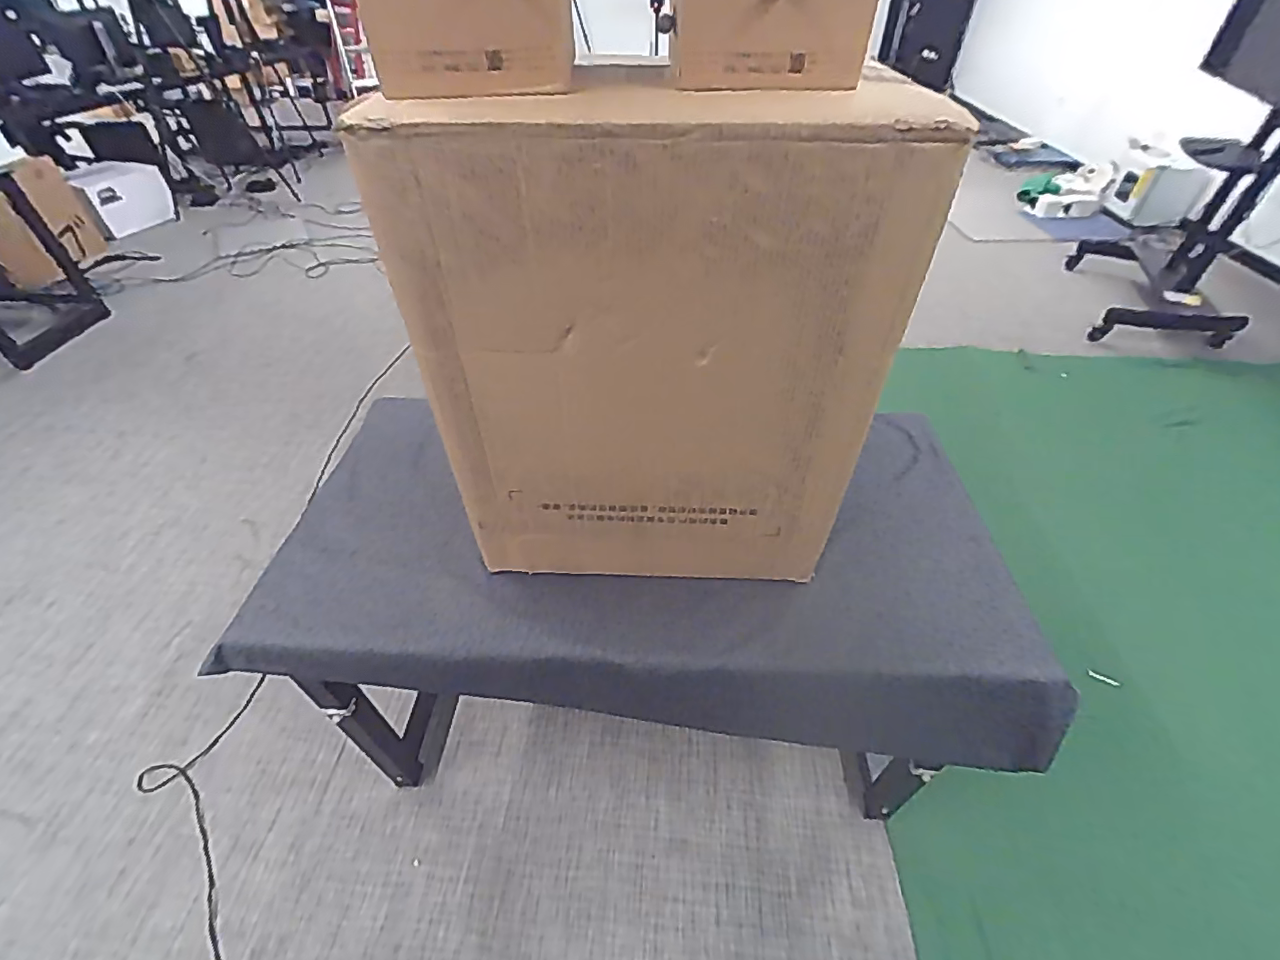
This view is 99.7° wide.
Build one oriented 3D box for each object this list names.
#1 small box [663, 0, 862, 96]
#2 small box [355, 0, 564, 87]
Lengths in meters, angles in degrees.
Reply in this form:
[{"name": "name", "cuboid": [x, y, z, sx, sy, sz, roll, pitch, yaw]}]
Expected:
[{"name": "small box", "cuboid": [0.107, -0.470, 0.496, 0.168, 0.176, 0.179, -1, 47, -1]}, {"name": "small box", "cuboid": [-0.160, -0.463, 0.477, 0.168, 0.176, 0.179, -6, 48, -4]}]
